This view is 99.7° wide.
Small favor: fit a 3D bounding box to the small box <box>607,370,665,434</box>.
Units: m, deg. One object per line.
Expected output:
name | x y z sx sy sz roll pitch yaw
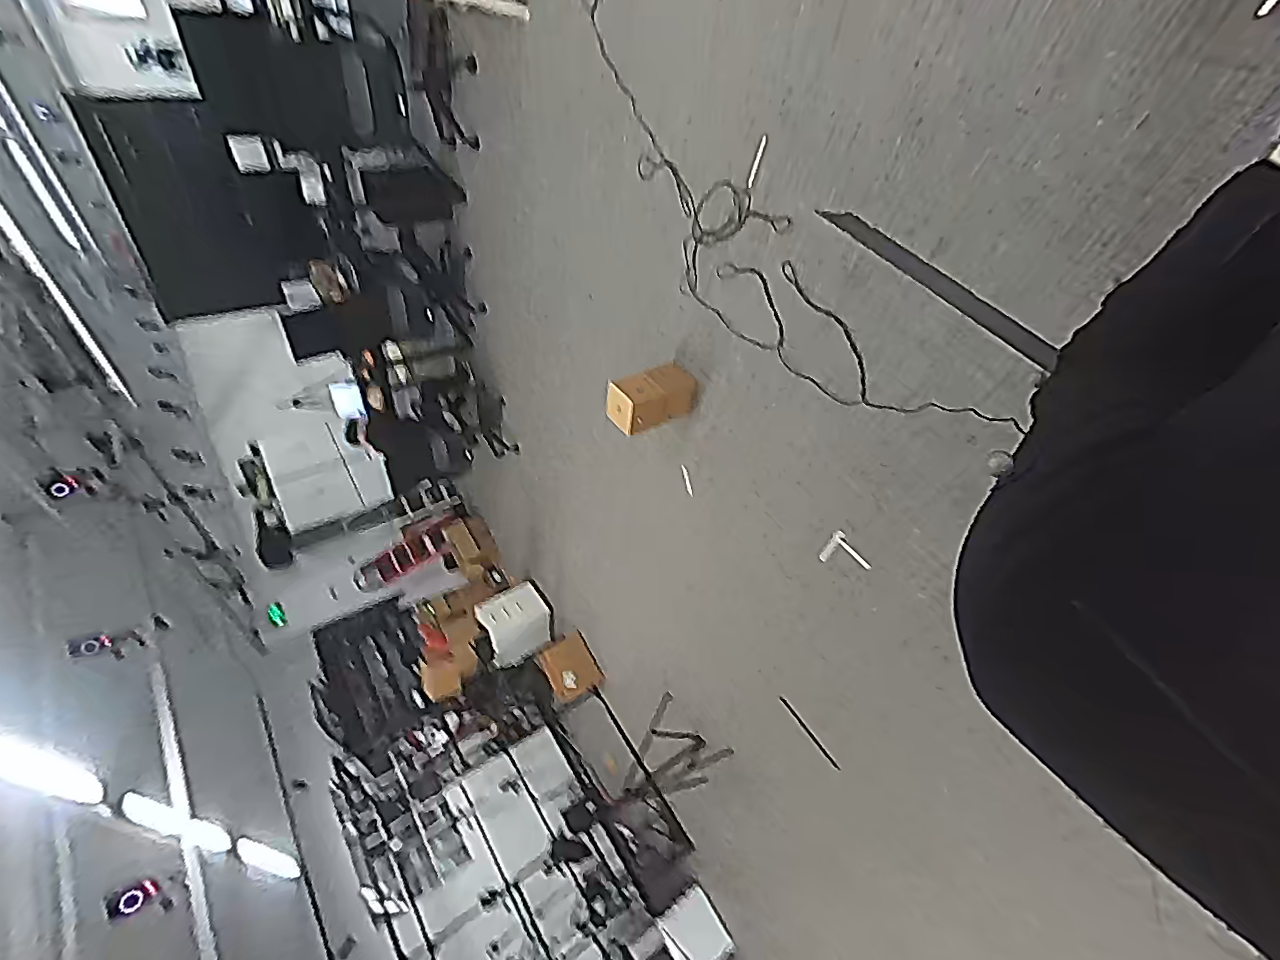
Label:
small box | -0.017 -0.322 2.191 0.168 0.176 0.179 47 146 33
